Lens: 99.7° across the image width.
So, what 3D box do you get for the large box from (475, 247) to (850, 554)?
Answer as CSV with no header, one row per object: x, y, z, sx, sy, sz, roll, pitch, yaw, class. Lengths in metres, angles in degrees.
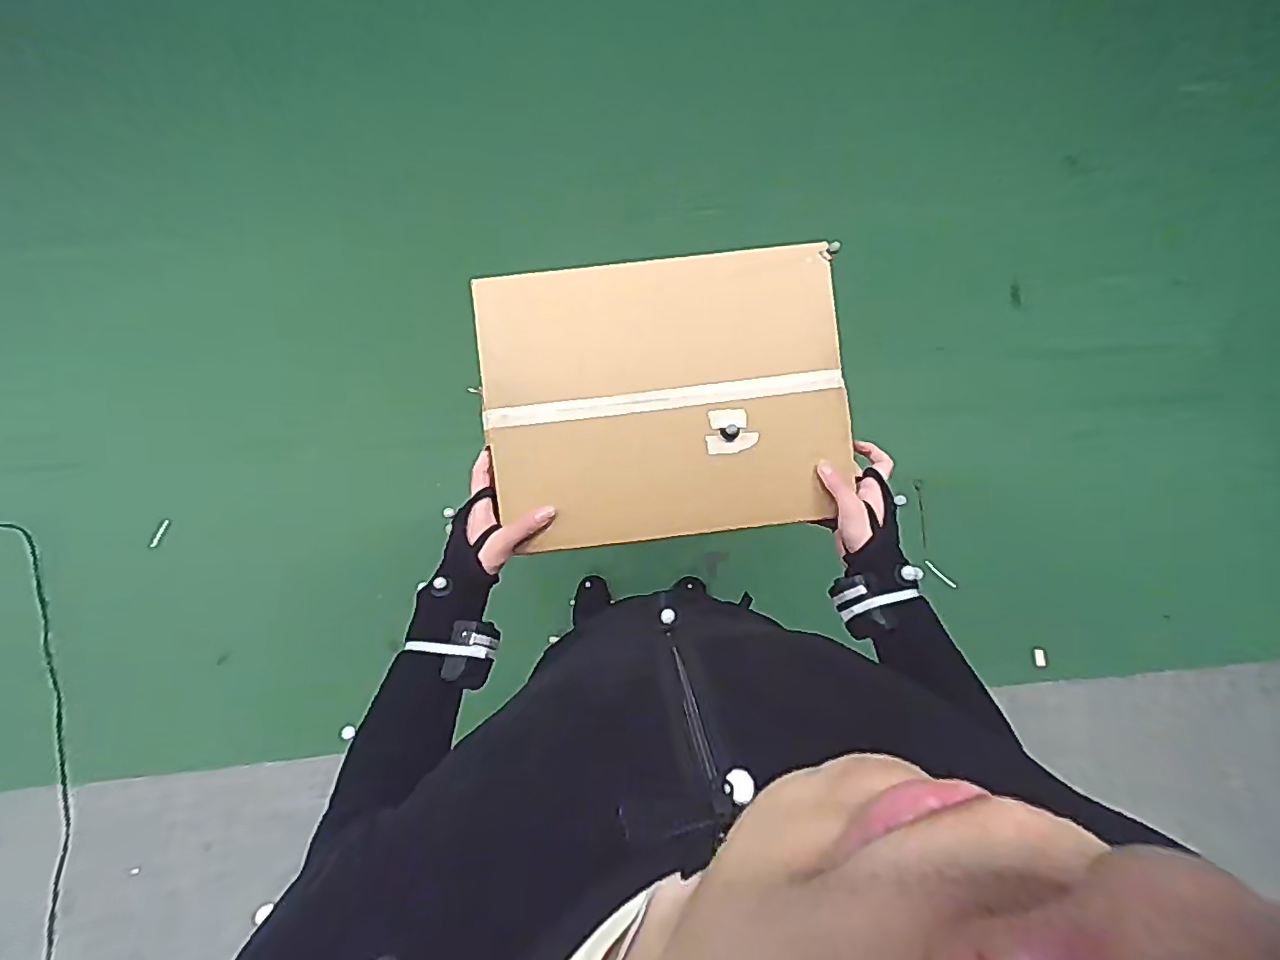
0.022,-0.091,0.766,0.408,0.320,0.320,-7,91,-2,large box
